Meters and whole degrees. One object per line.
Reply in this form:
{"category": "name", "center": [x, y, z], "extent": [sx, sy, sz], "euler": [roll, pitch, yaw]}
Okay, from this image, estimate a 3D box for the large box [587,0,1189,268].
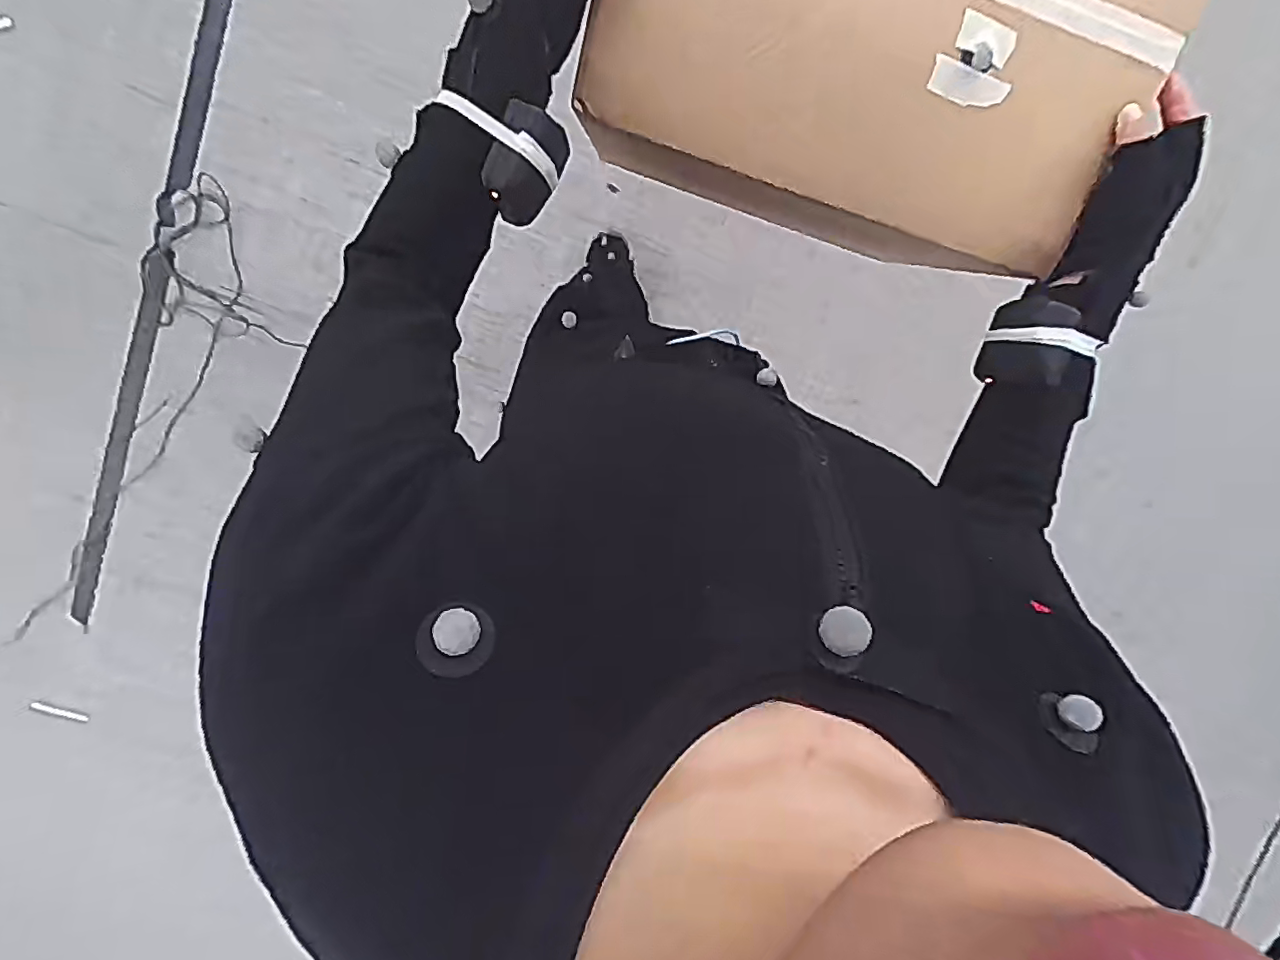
{"category": "large box", "center": [0.185, -0.423, 0.510], "extent": [0.408, 0.320, 0.320], "euler": [15, 115, -8]}
